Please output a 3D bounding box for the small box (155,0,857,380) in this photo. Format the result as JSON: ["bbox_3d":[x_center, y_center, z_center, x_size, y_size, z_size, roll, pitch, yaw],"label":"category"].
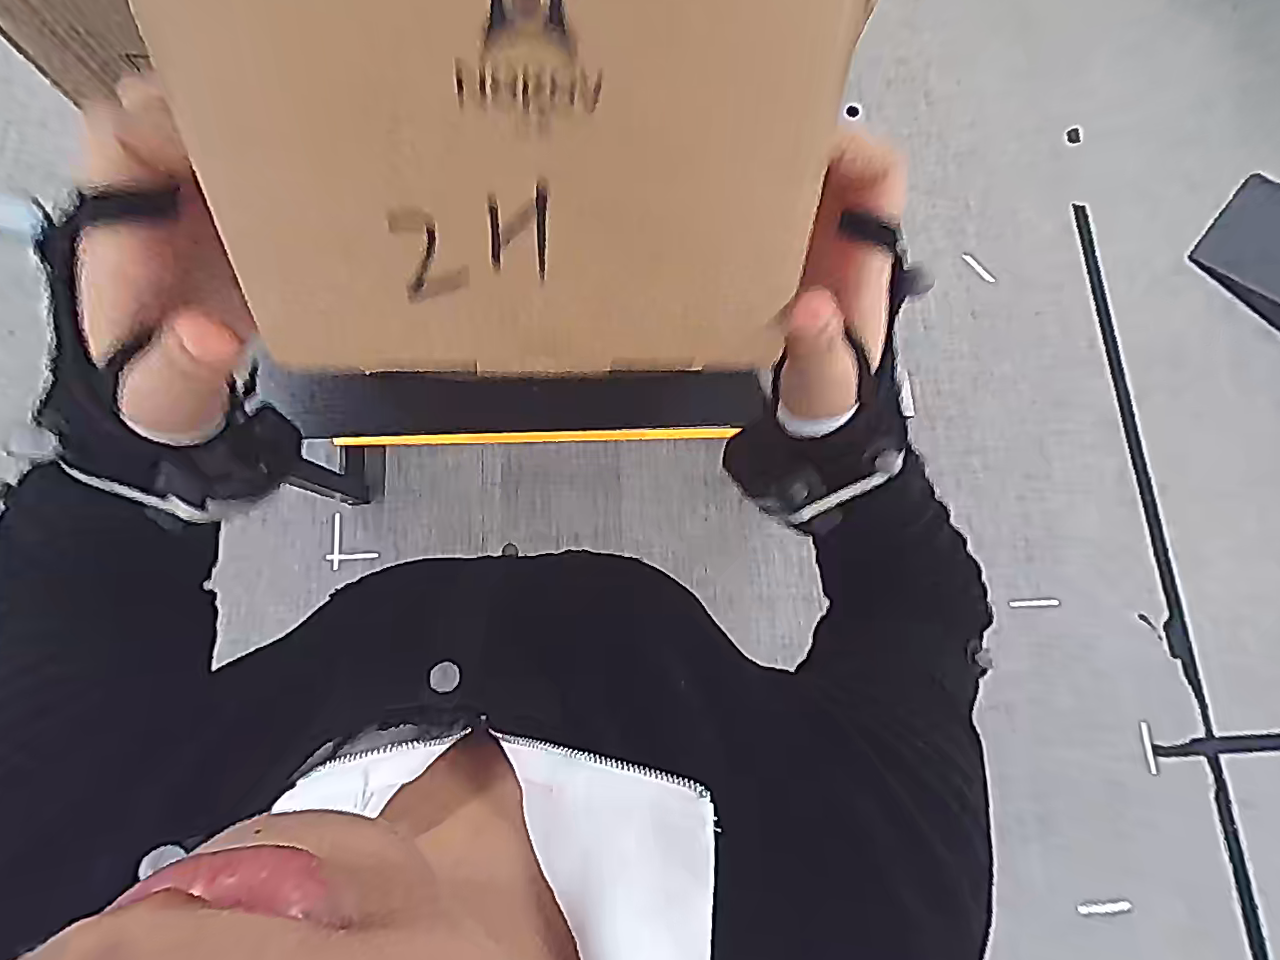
[{"bbox_3d":[-0.038,-0.153,0.199,0.168,0.179,0.176,-2,38,-8],"label":"small box"}]
